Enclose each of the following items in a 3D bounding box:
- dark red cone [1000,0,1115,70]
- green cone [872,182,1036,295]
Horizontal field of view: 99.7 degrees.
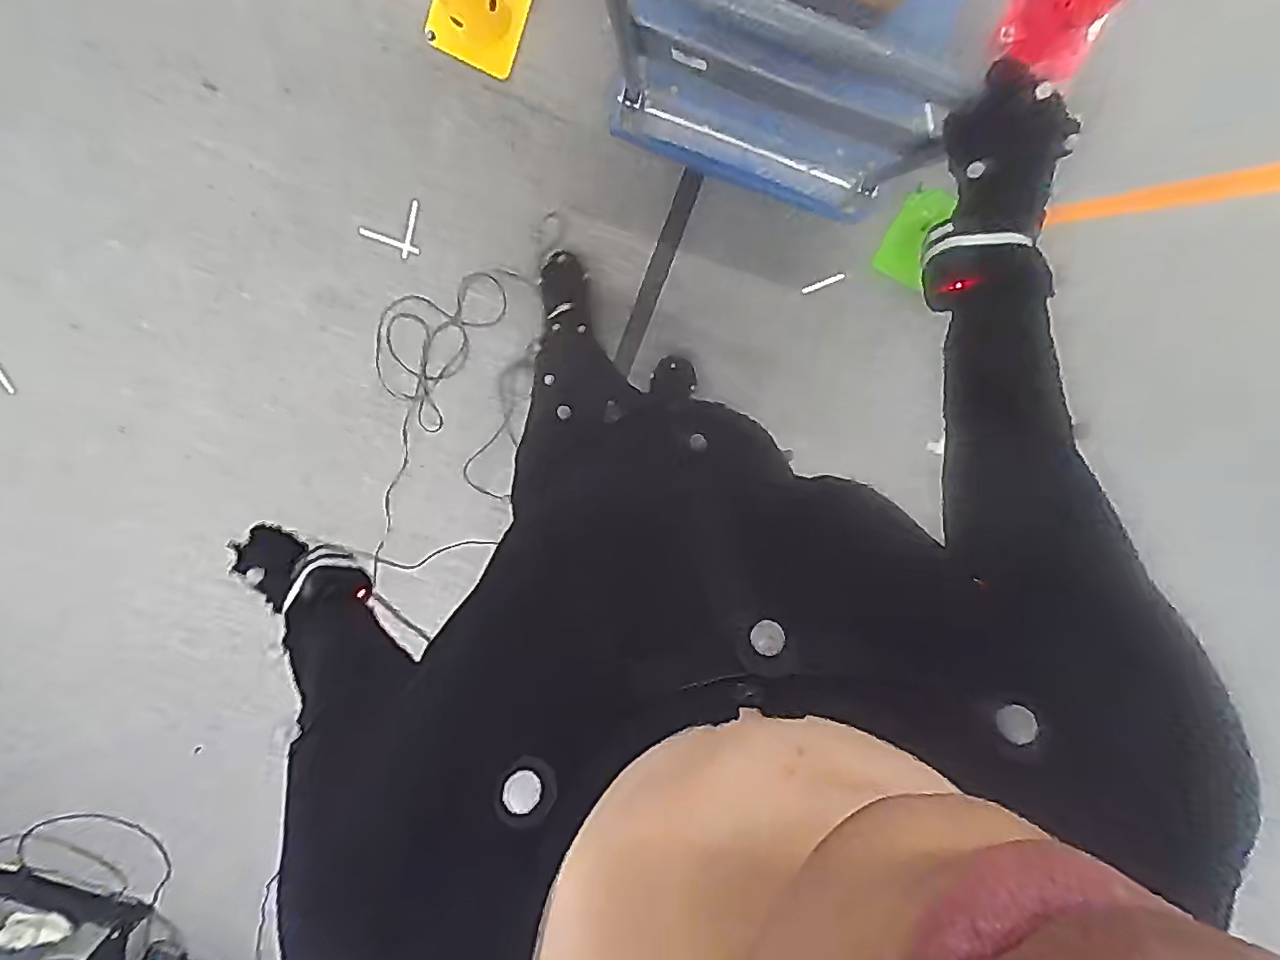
[{"bbox_3d":[0.861,-0.927,0.950,0.201,0.394,0.202,20,108,-6],"label":"dark red cone"},{"bbox_3d":[0.672,-0.511,1.114,0.202,0.368,0.200,24,108,-6],"label":"green cone"}]
